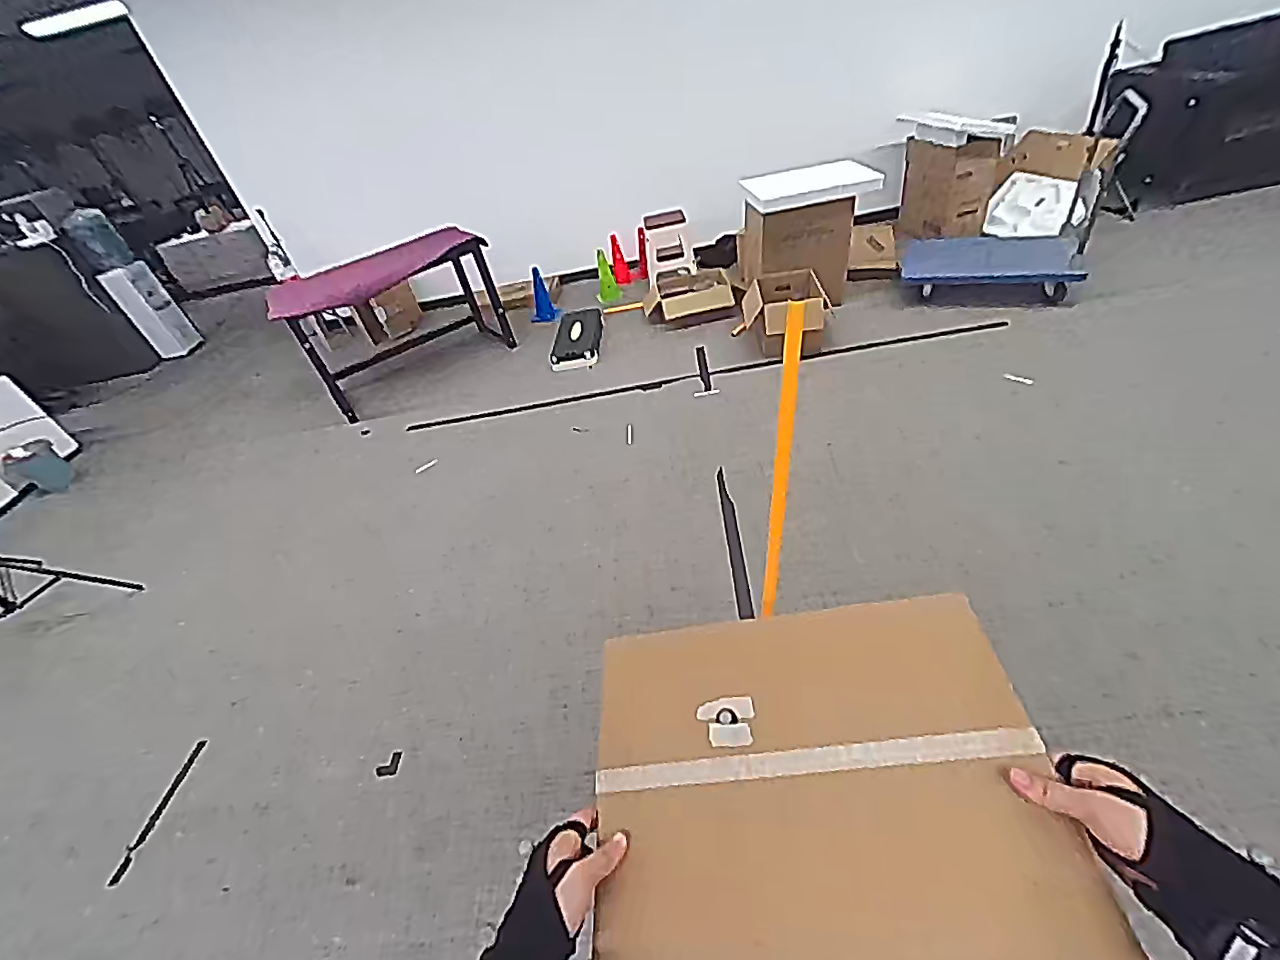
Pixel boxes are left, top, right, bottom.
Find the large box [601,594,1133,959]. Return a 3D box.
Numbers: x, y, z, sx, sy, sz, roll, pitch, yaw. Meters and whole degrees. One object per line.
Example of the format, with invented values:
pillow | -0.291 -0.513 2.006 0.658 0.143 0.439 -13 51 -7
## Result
large box | 0.197 0.373 0.618 0.408 0.320 0.320 -12 43 11
